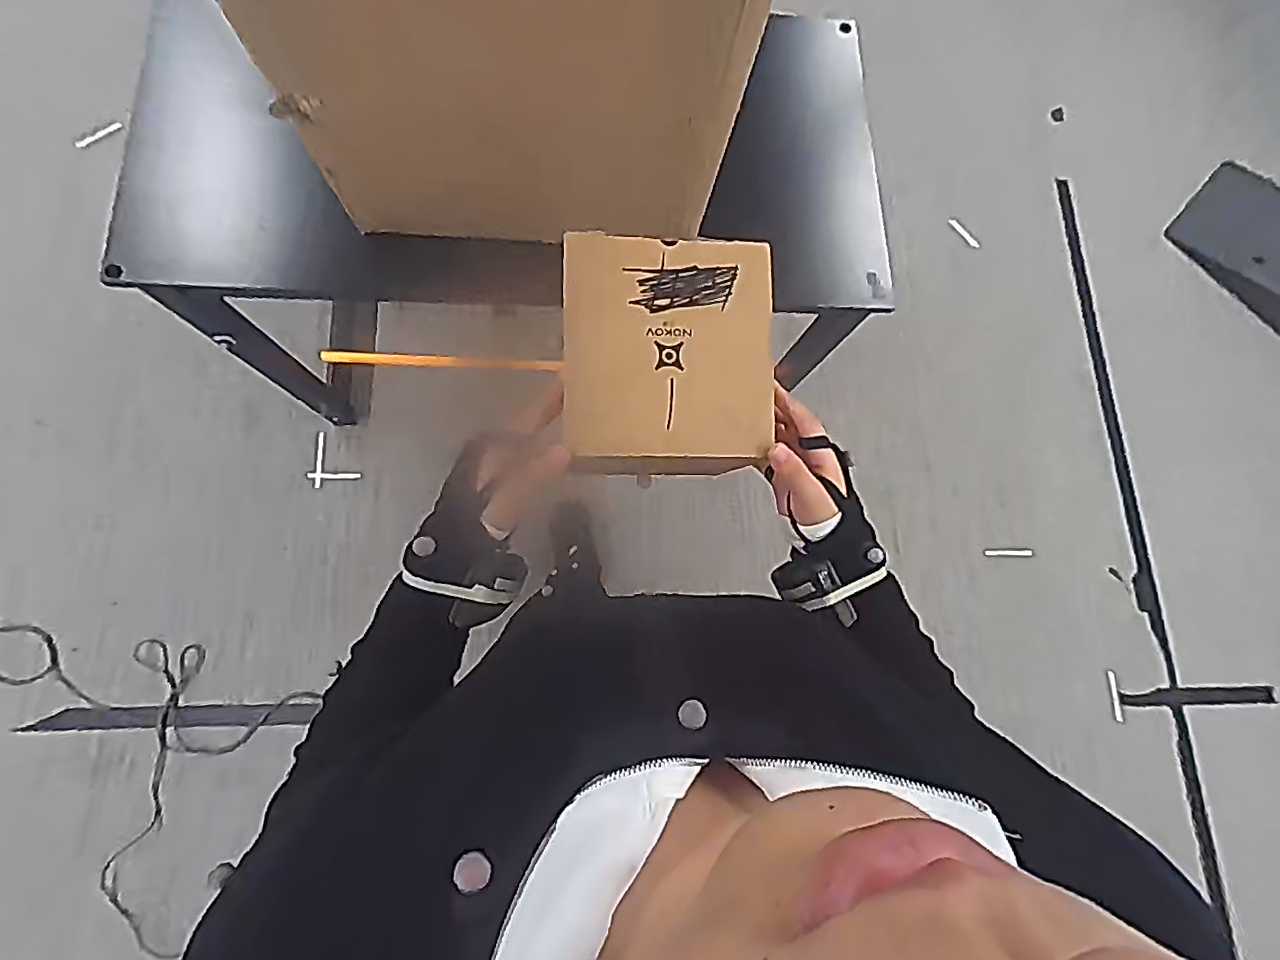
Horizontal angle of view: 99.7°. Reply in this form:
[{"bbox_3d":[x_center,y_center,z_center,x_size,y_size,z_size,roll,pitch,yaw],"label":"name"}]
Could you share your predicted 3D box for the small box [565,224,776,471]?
[{"bbox_3d":[0.015,-0.104,0.496,0.168,0.176,0.179,0,86,-6],"label":"small box"}]
